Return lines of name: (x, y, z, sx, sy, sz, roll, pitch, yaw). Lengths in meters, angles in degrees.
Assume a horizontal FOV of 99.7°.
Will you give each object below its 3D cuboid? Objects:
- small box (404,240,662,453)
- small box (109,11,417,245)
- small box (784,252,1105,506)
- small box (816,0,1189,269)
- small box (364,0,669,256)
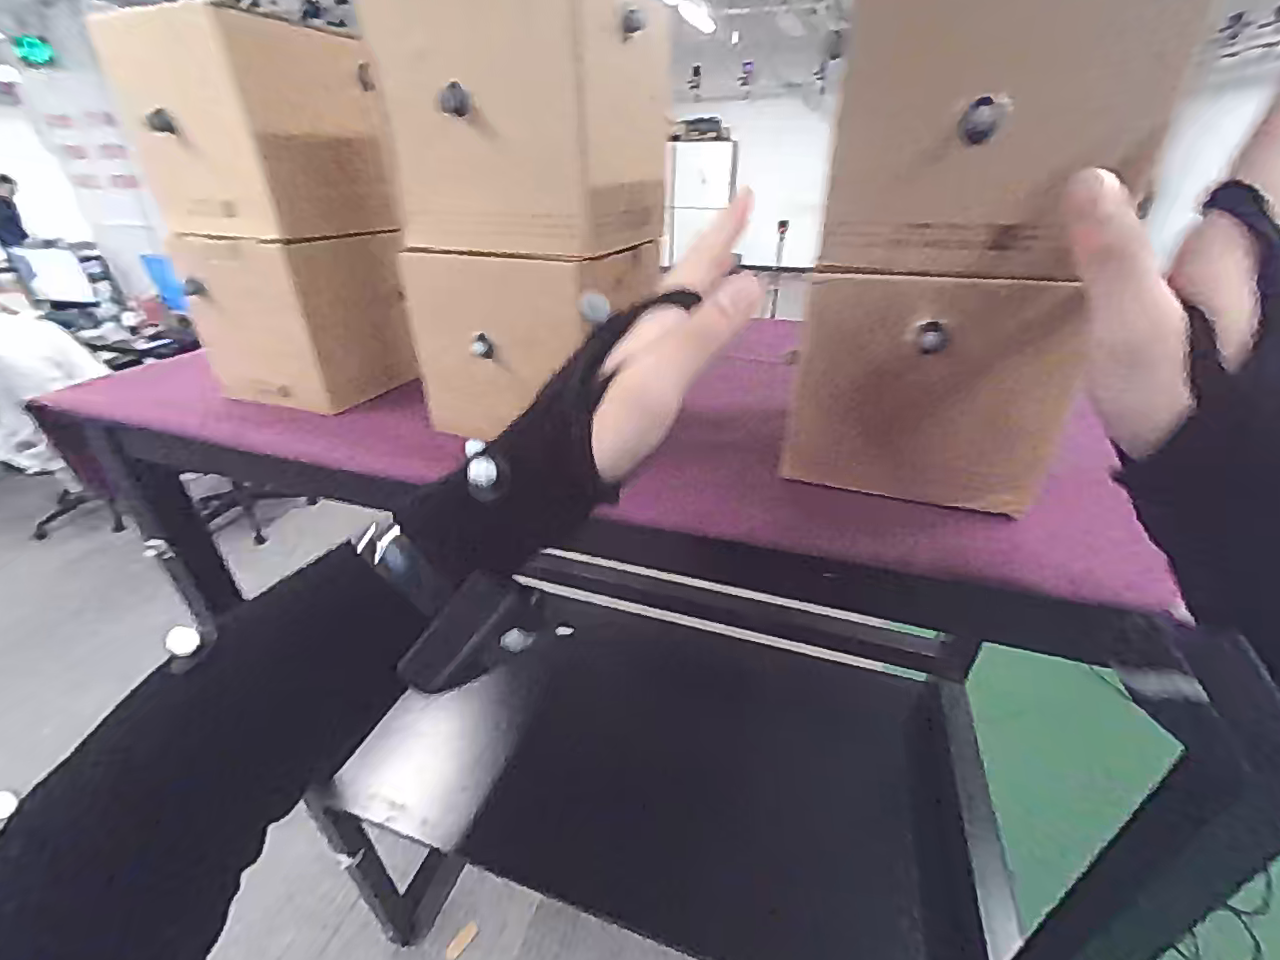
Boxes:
small box: (-0.088, -0.140, 0.528, 0.179, 0.176, 0.168, 11, 32, 22)
small box: (-0.354, -0.336, 0.546, 0.168, 0.176, 0.179, 12, 31, 21)
small box: (0.223, -0.095, 0.443, 0.179, 0.176, 0.168, 11, 32, 20)
small box: (0.222, -0.241, 0.368, 0.168, 0.176, 0.179, 11, 32, 20)
small box: (-0.083, -0.284, 0.450, 0.179, 0.176, 0.168, 10, 32, 20)
